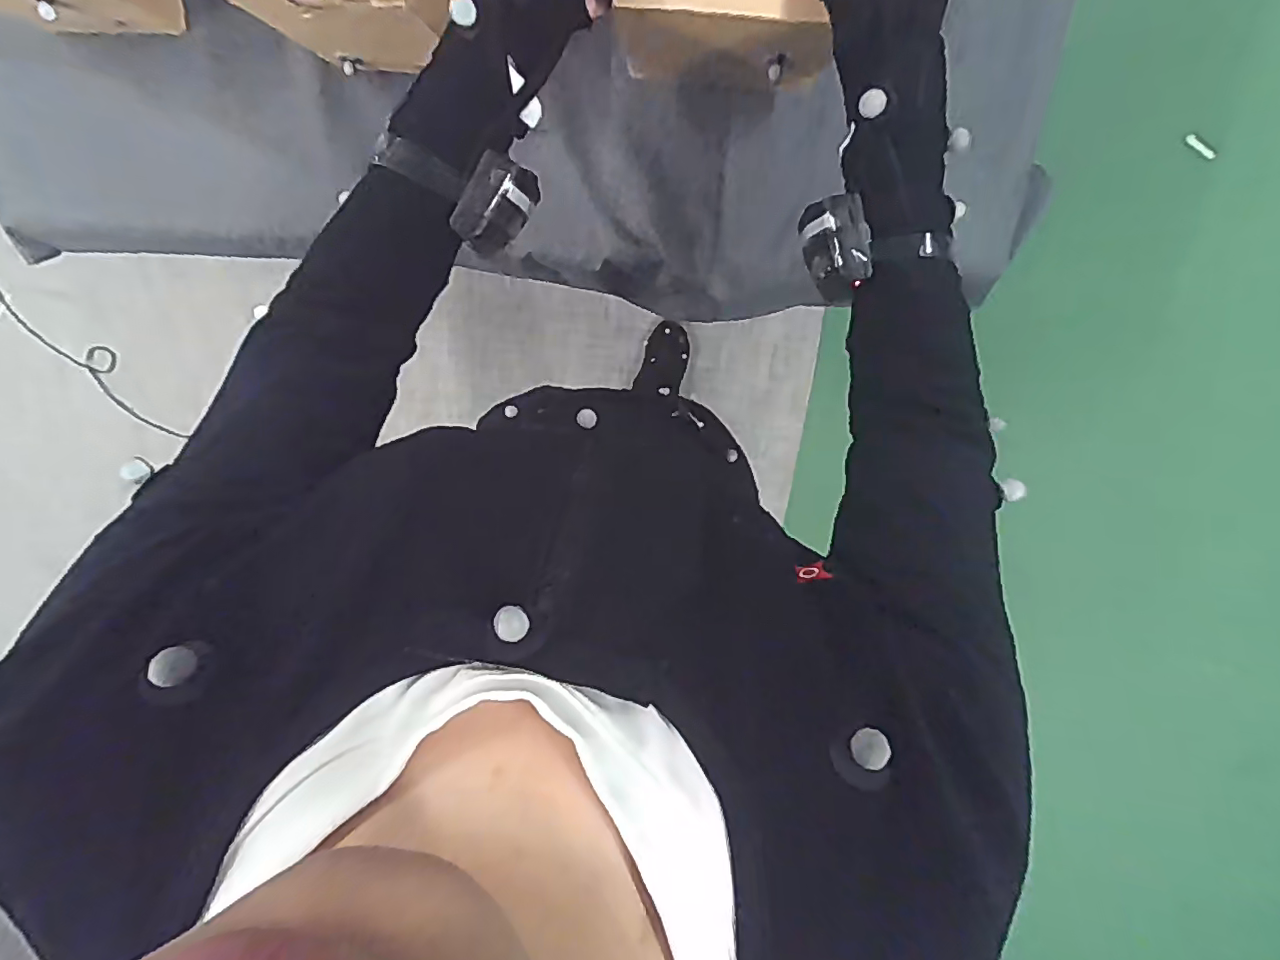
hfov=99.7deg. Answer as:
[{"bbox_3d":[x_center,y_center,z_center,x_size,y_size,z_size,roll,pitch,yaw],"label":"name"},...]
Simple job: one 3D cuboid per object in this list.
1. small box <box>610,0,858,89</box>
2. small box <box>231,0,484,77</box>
[{"bbox_3d":[0.078,-0.432,0.427,0.179,0.176,0.168,6,112,4],"label":"small box"},{"bbox_3d":[-0.249,-0.497,0.488,0.168,0.176,0.179,7,109,4],"label":"small box"}]
